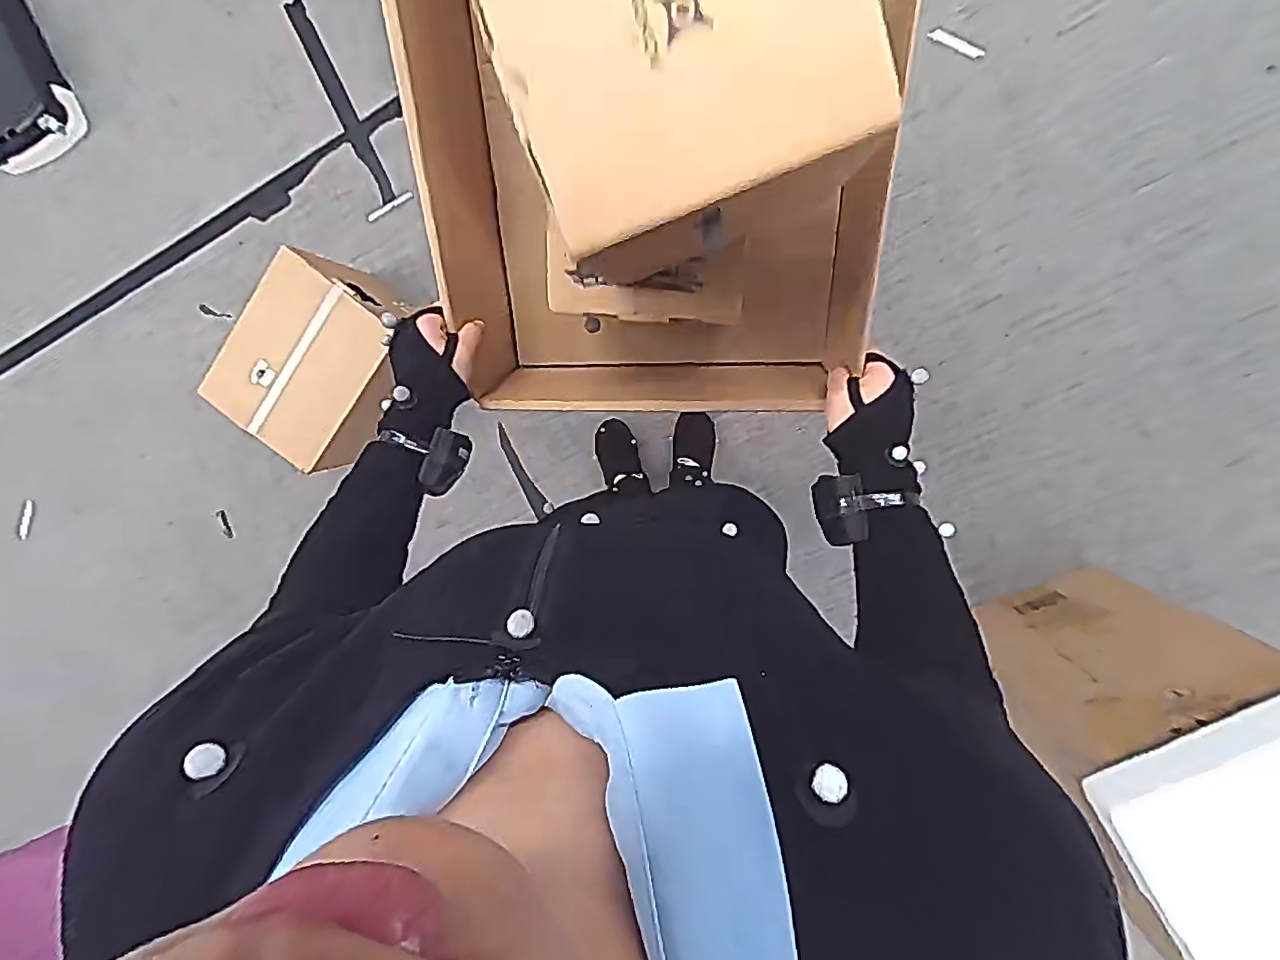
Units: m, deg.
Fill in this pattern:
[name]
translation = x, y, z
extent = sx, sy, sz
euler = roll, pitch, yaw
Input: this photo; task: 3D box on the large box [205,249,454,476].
[large box]
translation = -0.742, -0.280, 1.341
extent = 0.320, 0.320, 0.408
euler = 38, 101, -2
